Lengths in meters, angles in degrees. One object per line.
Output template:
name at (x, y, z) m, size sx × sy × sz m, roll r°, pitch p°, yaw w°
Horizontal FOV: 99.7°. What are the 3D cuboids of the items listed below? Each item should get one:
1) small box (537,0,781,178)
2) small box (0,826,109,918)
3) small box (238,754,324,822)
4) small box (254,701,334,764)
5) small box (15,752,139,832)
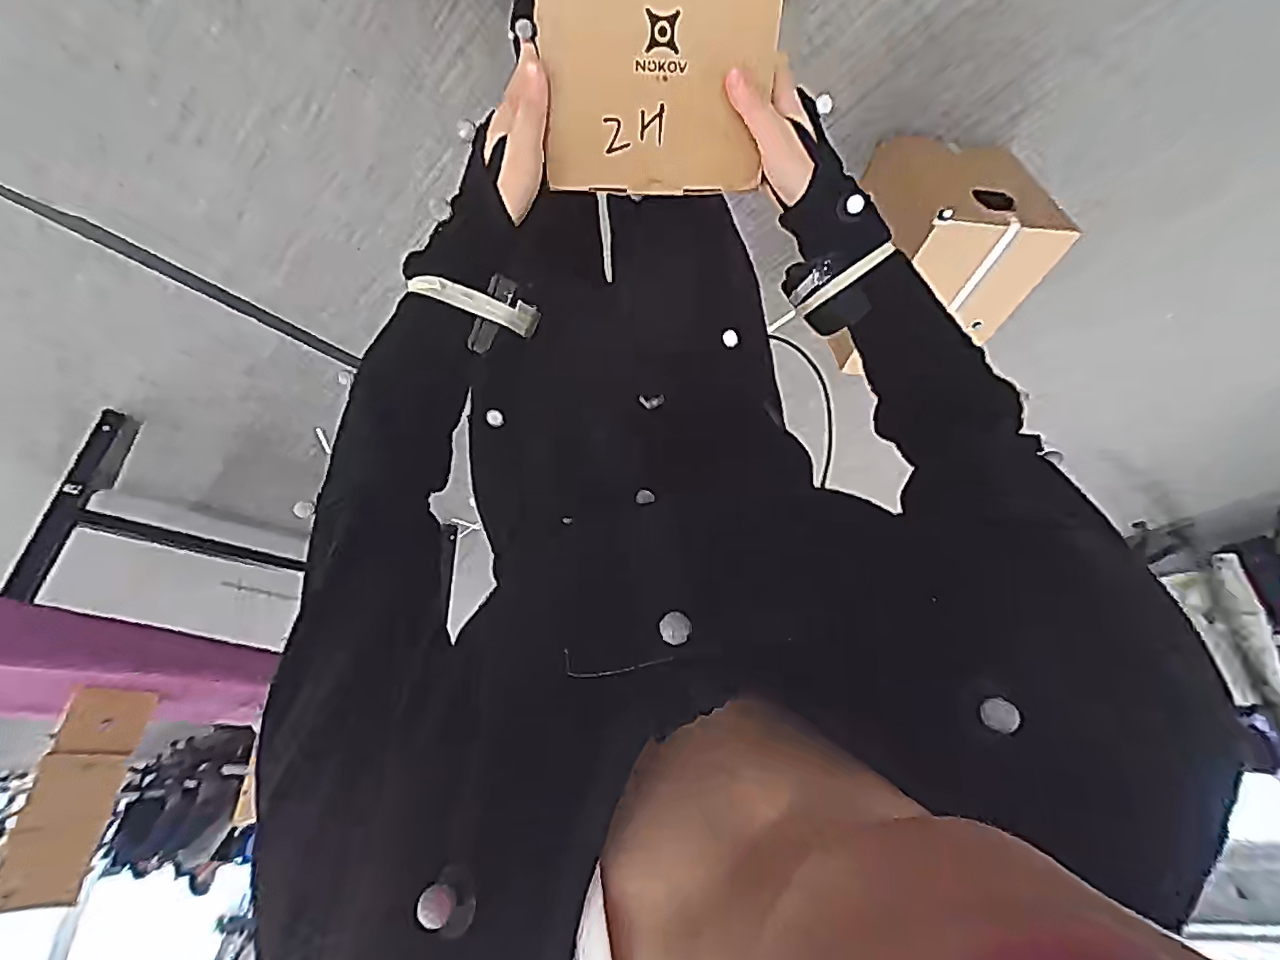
small box at (0.003, -0.348, 0.433) m, size 0.168 × 0.176 × 0.179 m, roll -3°, pitch 123°, yaw -7°
small box at (-1.461, 0.958, 1.334) m, size 0.179 × 0.176 × 0.168 m, roll 23°, pitch 138°, yaw -38°
small box at (-1.140, 0.983, 1.728) m, size 0.179 × 0.176 × 0.168 m, roll -31°, pitch 141°, yaw 32°
small box at (-1.160, 0.853, 1.823) m, size 0.179 × 0.176 × 0.168 m, roll -29°, pitch 140°, yaw 33°
small box at (-1.470, 0.817, 1.416) m, size 0.179 × 0.176 × 0.168 m, roll 24°, pitch 138°, yaw -37°
